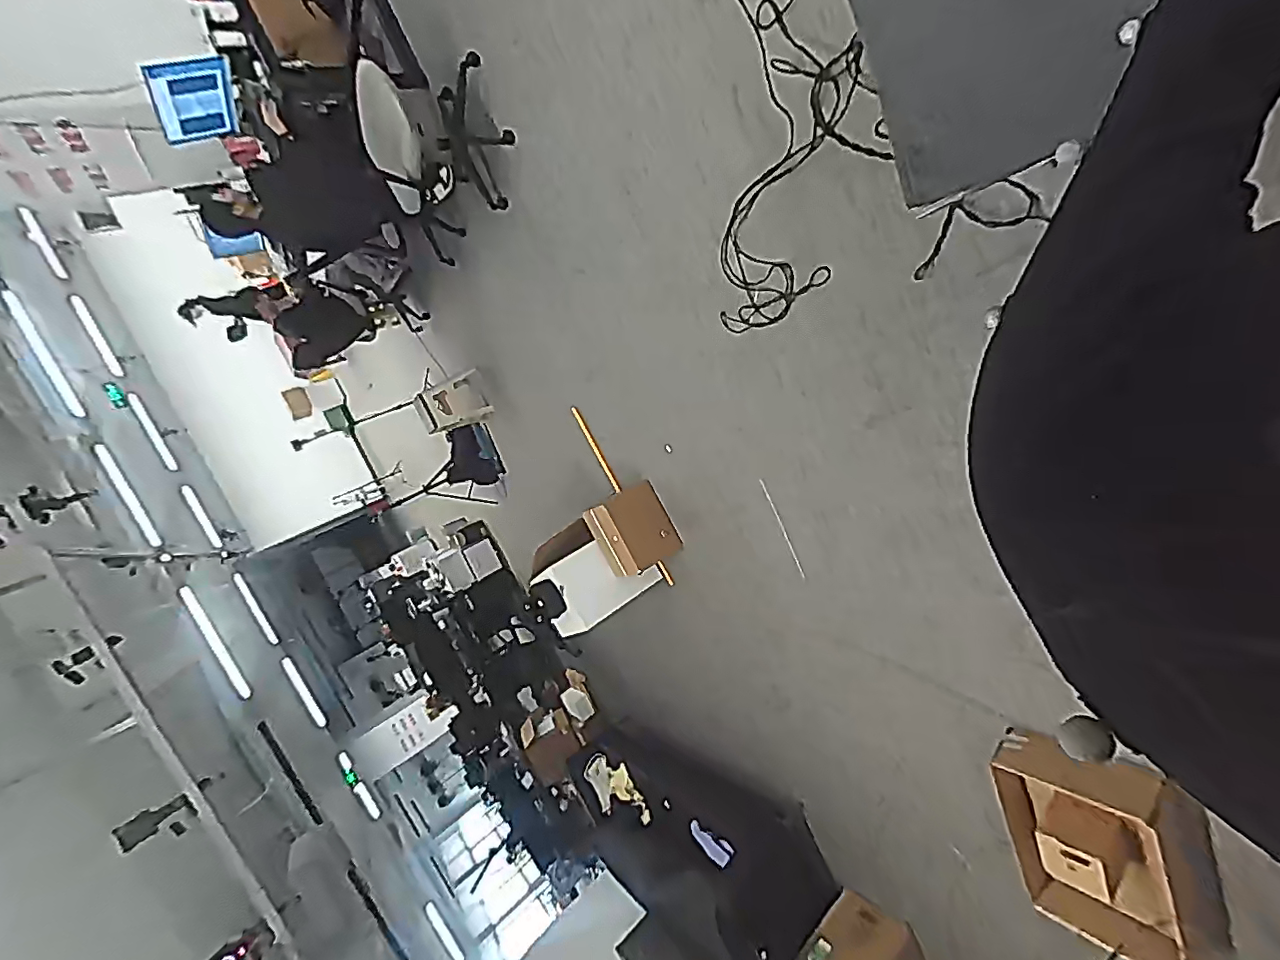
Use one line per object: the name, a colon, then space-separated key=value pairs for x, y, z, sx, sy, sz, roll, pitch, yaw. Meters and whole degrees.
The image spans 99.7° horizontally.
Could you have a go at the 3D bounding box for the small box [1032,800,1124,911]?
small box: x=1.310 y=1.110 z=1.616 sx=0.168 sy=0.176 sz=0.179 roll=1 pitch=117 yaw=57
